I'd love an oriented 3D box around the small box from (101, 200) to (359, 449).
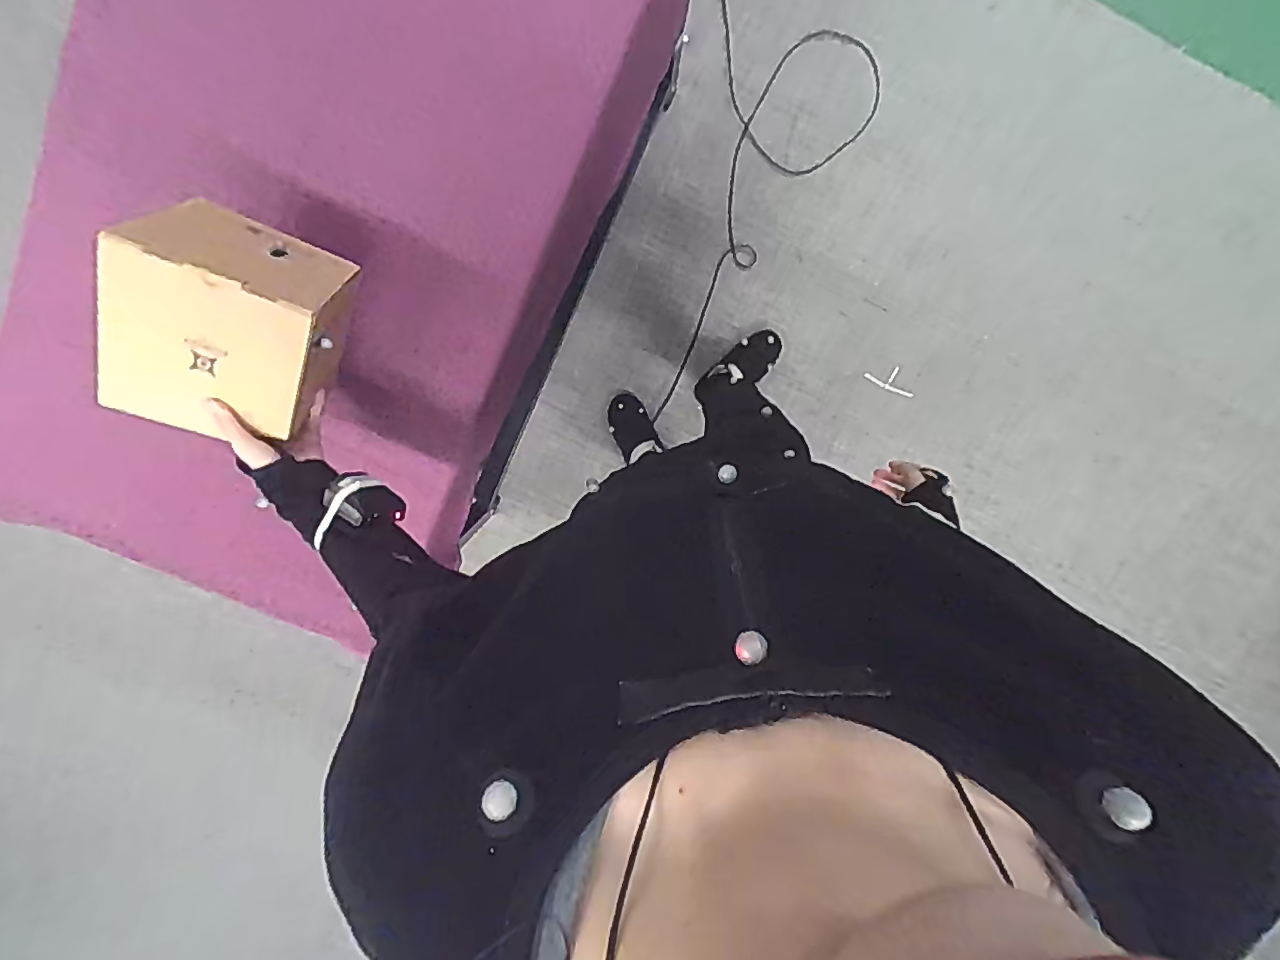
[{"bbox_3d":[-0.425,-0.169,0.585,0.168,0.176,0.179,18,122,-21],"label":"small box"}]
